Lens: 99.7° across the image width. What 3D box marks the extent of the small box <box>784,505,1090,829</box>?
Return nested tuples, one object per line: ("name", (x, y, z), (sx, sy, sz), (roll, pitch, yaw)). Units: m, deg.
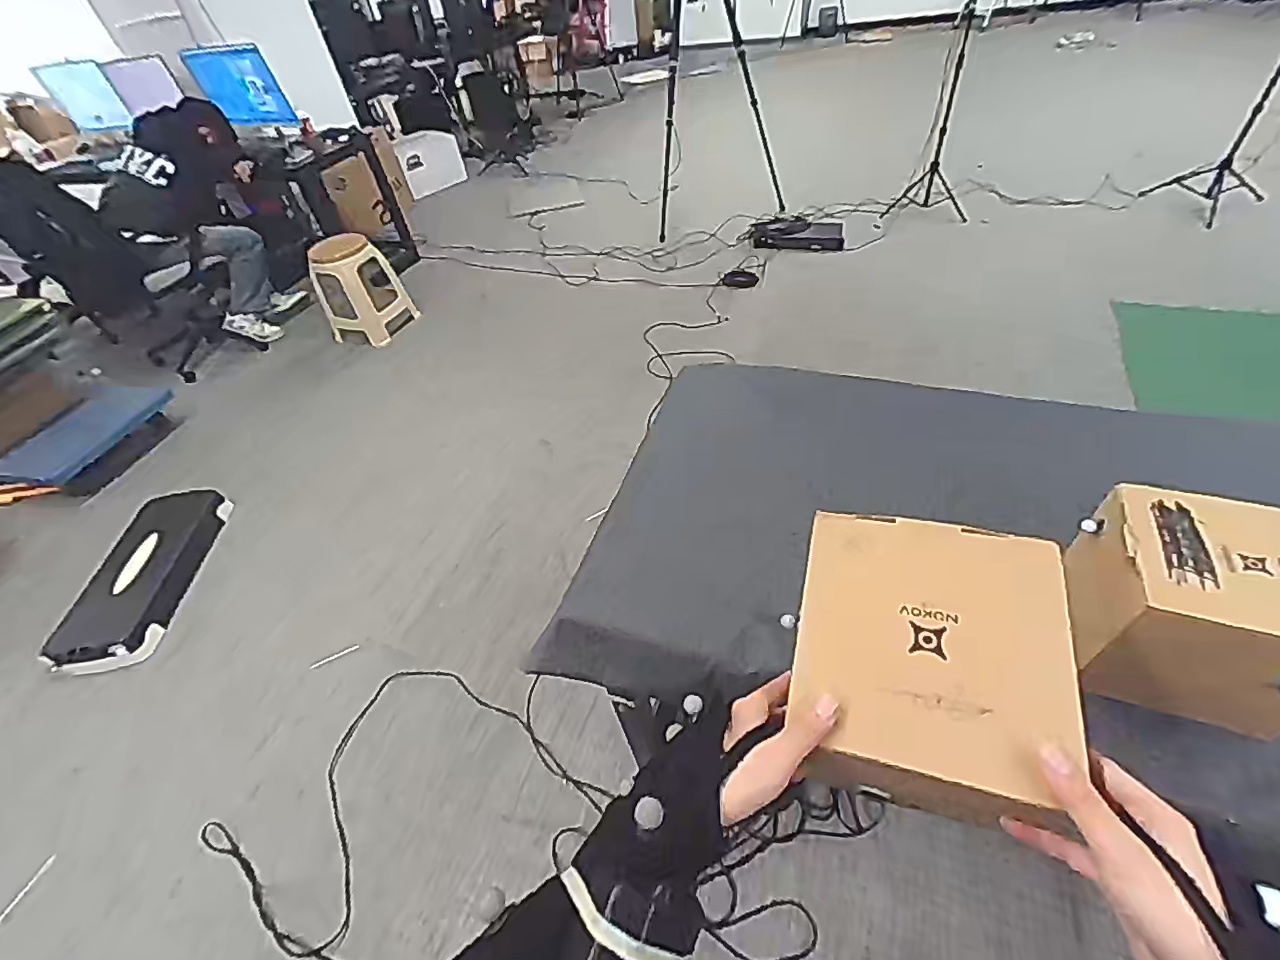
("small box", (0.209, 0.146, 0.423), (0.168, 0.176, 0.179), (8, 58, 20))
